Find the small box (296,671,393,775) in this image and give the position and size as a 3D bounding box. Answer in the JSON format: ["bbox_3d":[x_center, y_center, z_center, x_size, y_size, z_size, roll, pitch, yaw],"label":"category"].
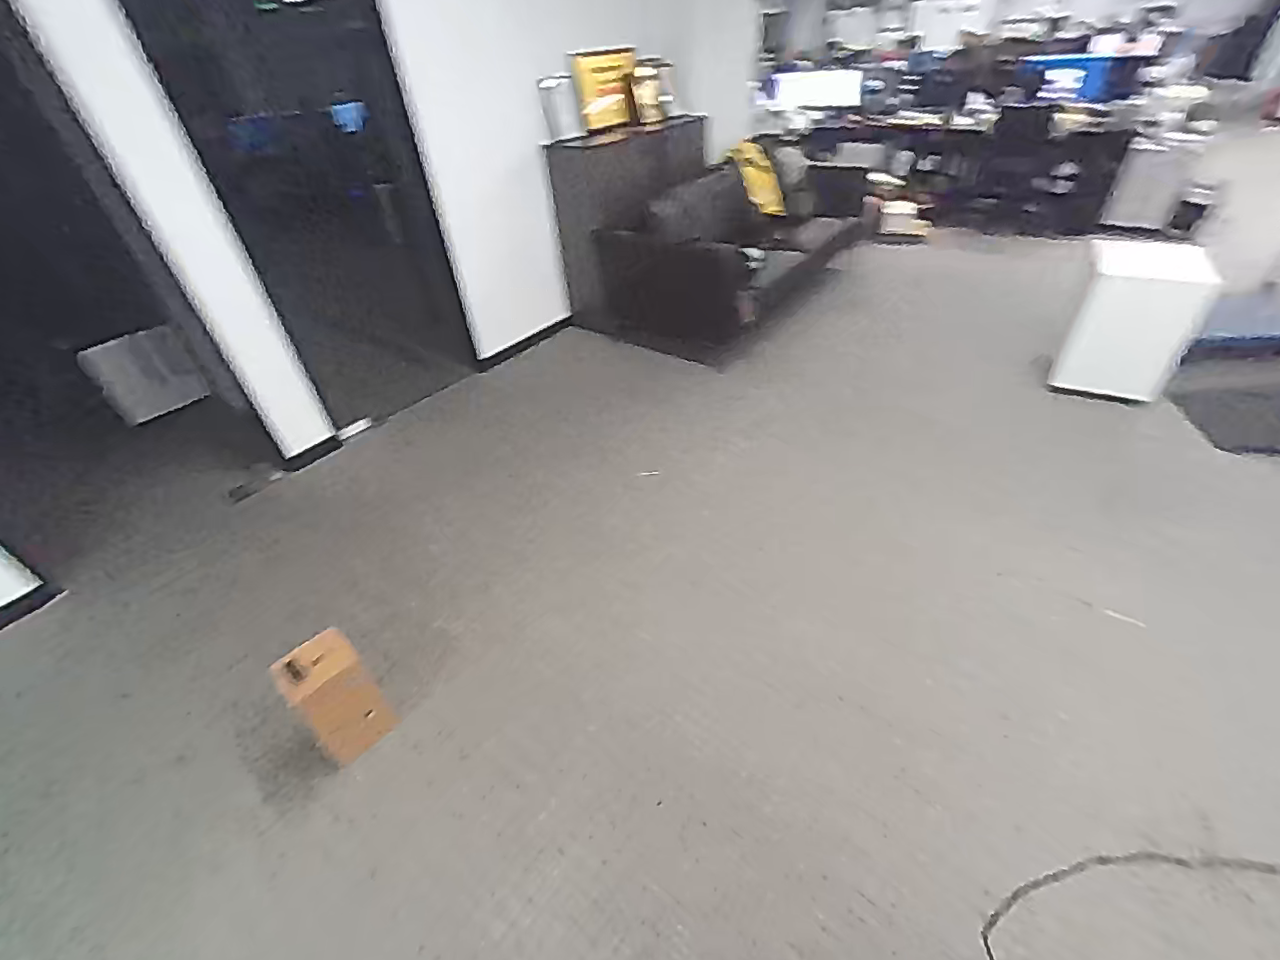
[{"bbox_3d":[-0.837,0.696,1.552,0.168,0.176,0.179,28,49,35],"label":"small box"}]
